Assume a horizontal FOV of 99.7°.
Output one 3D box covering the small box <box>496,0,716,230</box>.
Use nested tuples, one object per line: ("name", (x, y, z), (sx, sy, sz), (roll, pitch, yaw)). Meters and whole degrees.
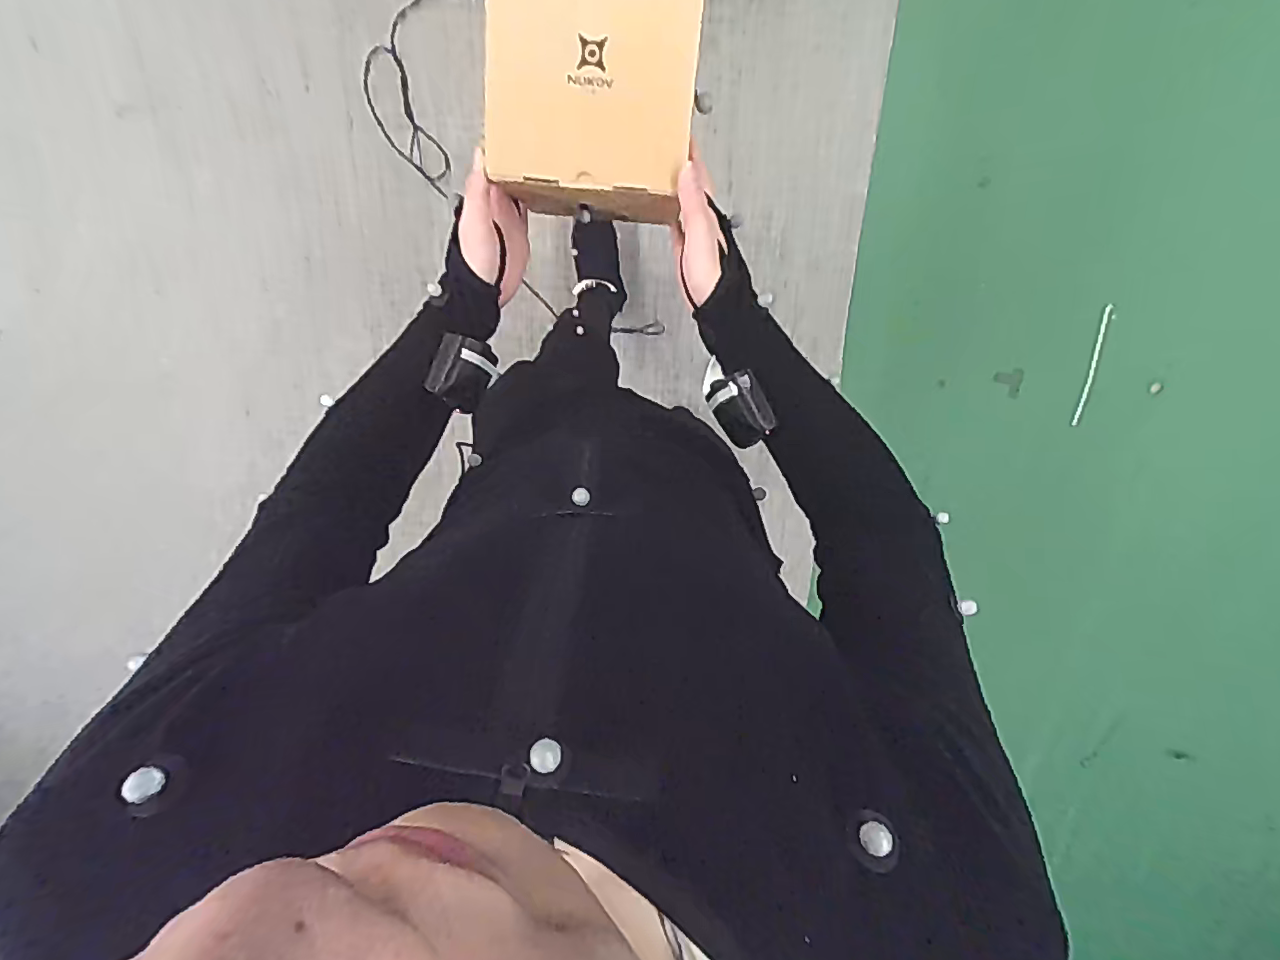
("small box", (-0.030, -0.340, 0.497), (0.168, 0.176, 0.179), (5, 110, -1))
